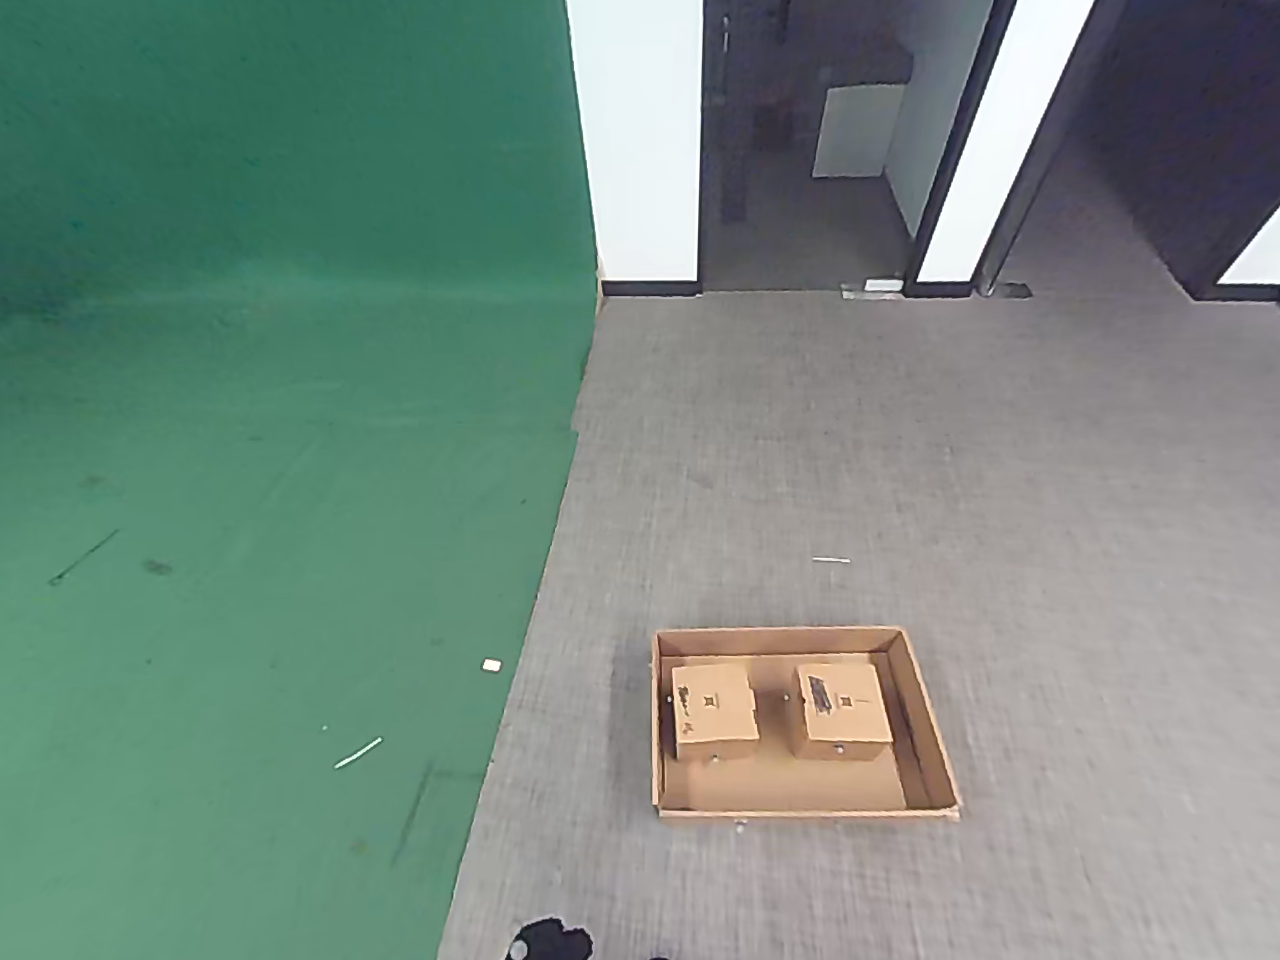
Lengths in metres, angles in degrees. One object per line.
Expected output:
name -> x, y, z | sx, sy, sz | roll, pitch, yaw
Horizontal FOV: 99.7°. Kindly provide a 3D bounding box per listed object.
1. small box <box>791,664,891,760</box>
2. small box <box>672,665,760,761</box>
small box -> 0.450, 0.536, 1.246 | 0.179, 0.176, 0.168 | -1, 51, 5
small box -> 0.169, 0.545, 1.261 | 0.179, 0.176, 0.168 | -3, 50, 0
